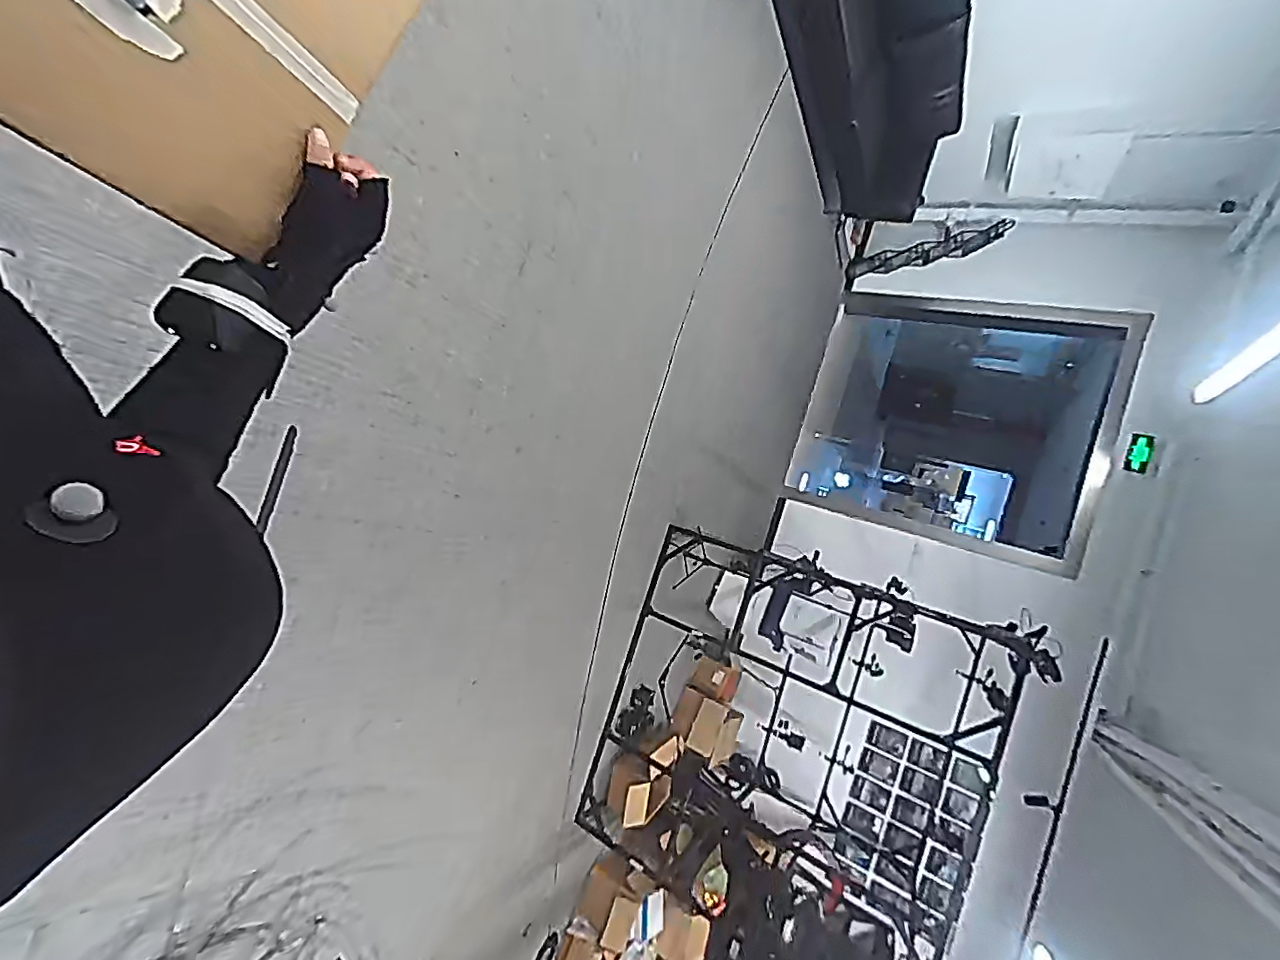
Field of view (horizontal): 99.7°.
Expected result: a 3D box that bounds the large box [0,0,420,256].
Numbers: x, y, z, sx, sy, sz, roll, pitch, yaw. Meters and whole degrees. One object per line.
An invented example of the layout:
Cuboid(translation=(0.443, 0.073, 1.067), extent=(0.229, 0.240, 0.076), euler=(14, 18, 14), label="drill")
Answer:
Cuboid(translation=(-0.454, -0.440, 0.386), extent=(0.320, 0.320, 0.408), euler=(-58, 148, 0), label="large box")
